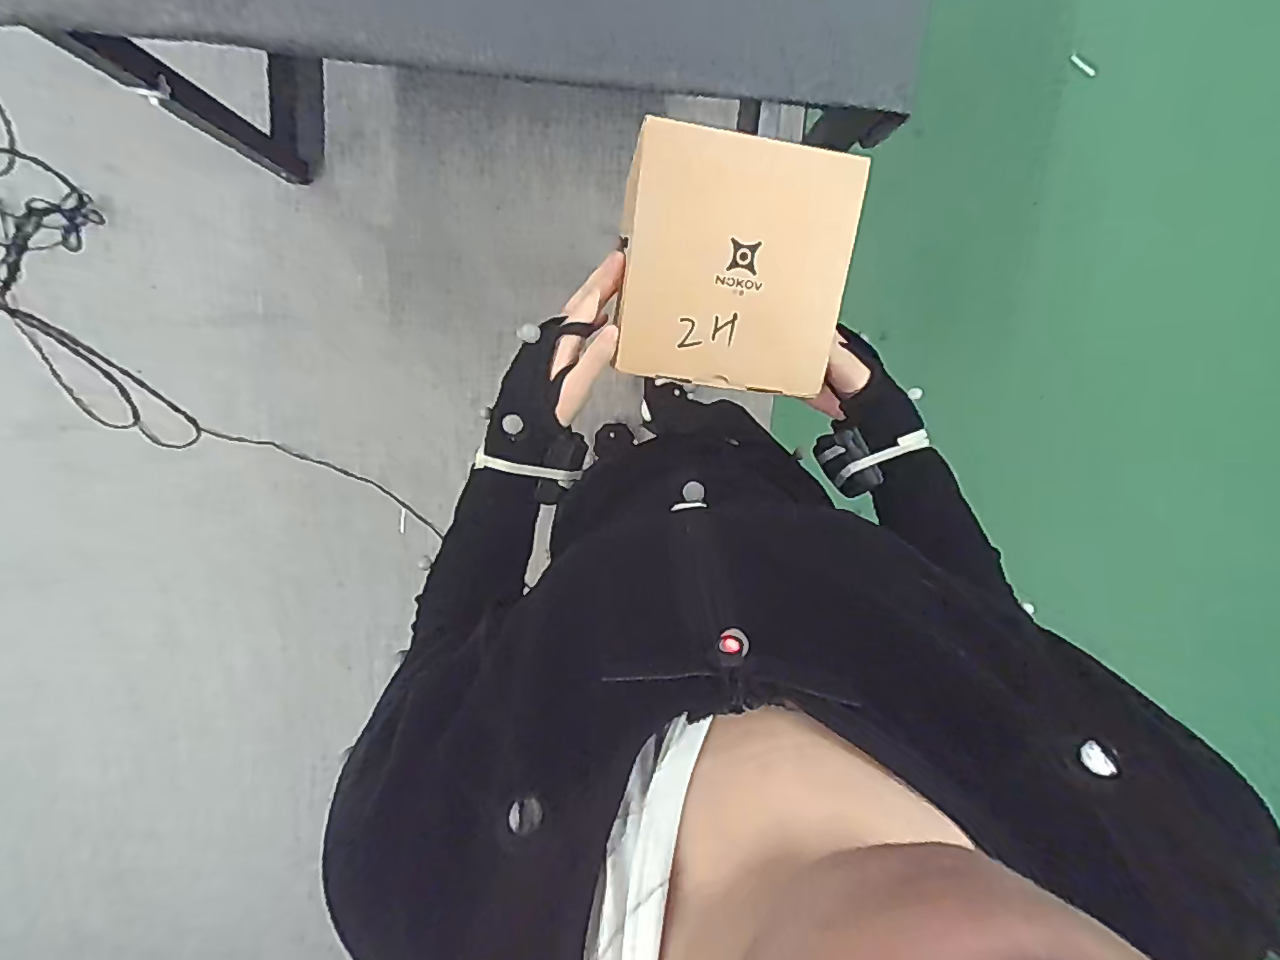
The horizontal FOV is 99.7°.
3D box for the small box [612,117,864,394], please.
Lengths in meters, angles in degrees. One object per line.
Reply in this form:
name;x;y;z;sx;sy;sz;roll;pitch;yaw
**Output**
small box;0.066;-0.180;0.481;0.168;0.176;0.179;6;104;-6
